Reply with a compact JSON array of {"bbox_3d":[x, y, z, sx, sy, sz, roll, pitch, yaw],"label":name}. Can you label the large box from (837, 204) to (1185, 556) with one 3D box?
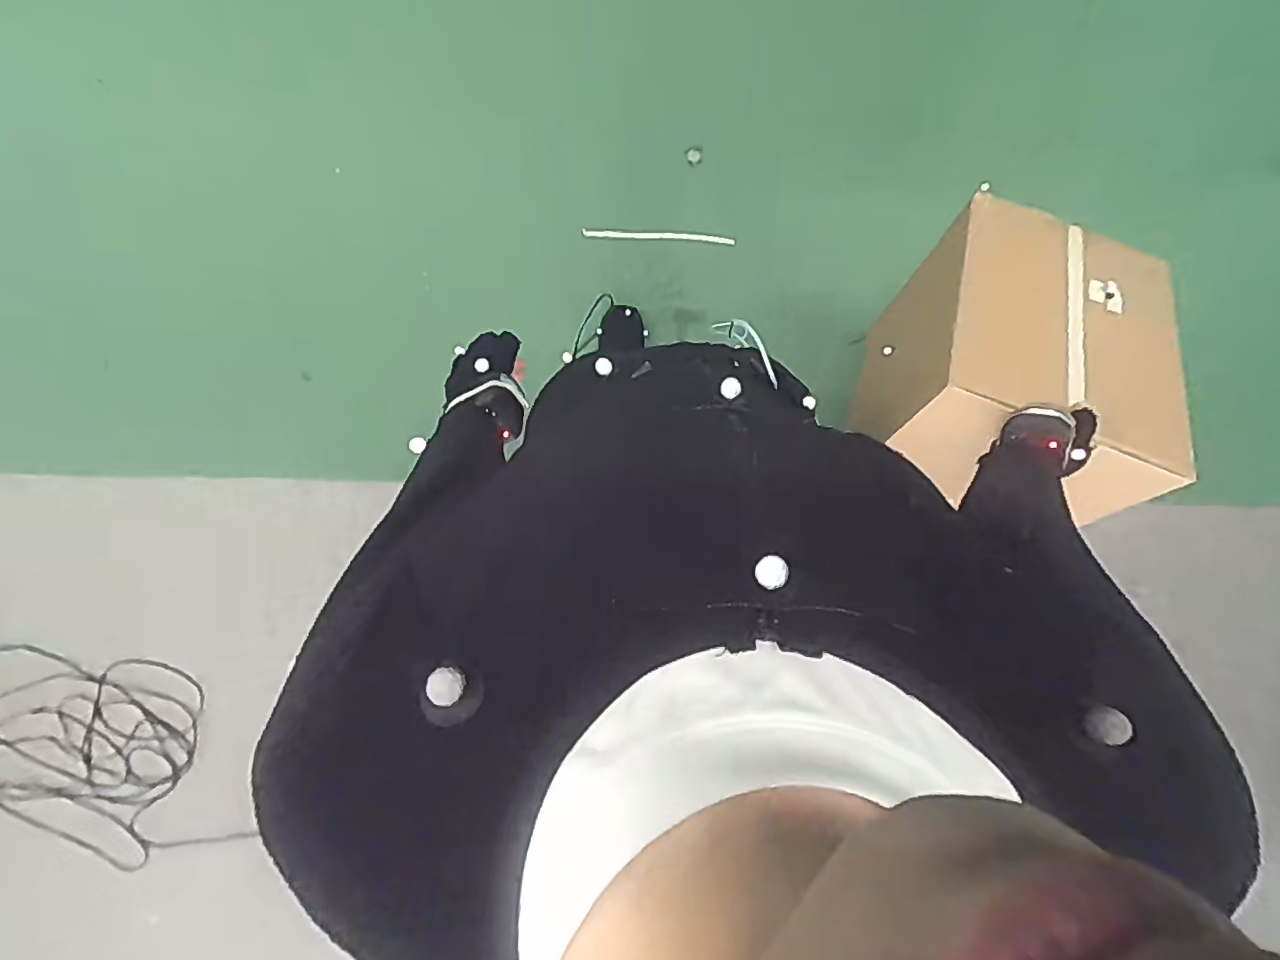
[{"bbox_3d":[0.557,-0.147,0.875,0.320,0.320,0.408,22,62,2],"label":"large box"}]
